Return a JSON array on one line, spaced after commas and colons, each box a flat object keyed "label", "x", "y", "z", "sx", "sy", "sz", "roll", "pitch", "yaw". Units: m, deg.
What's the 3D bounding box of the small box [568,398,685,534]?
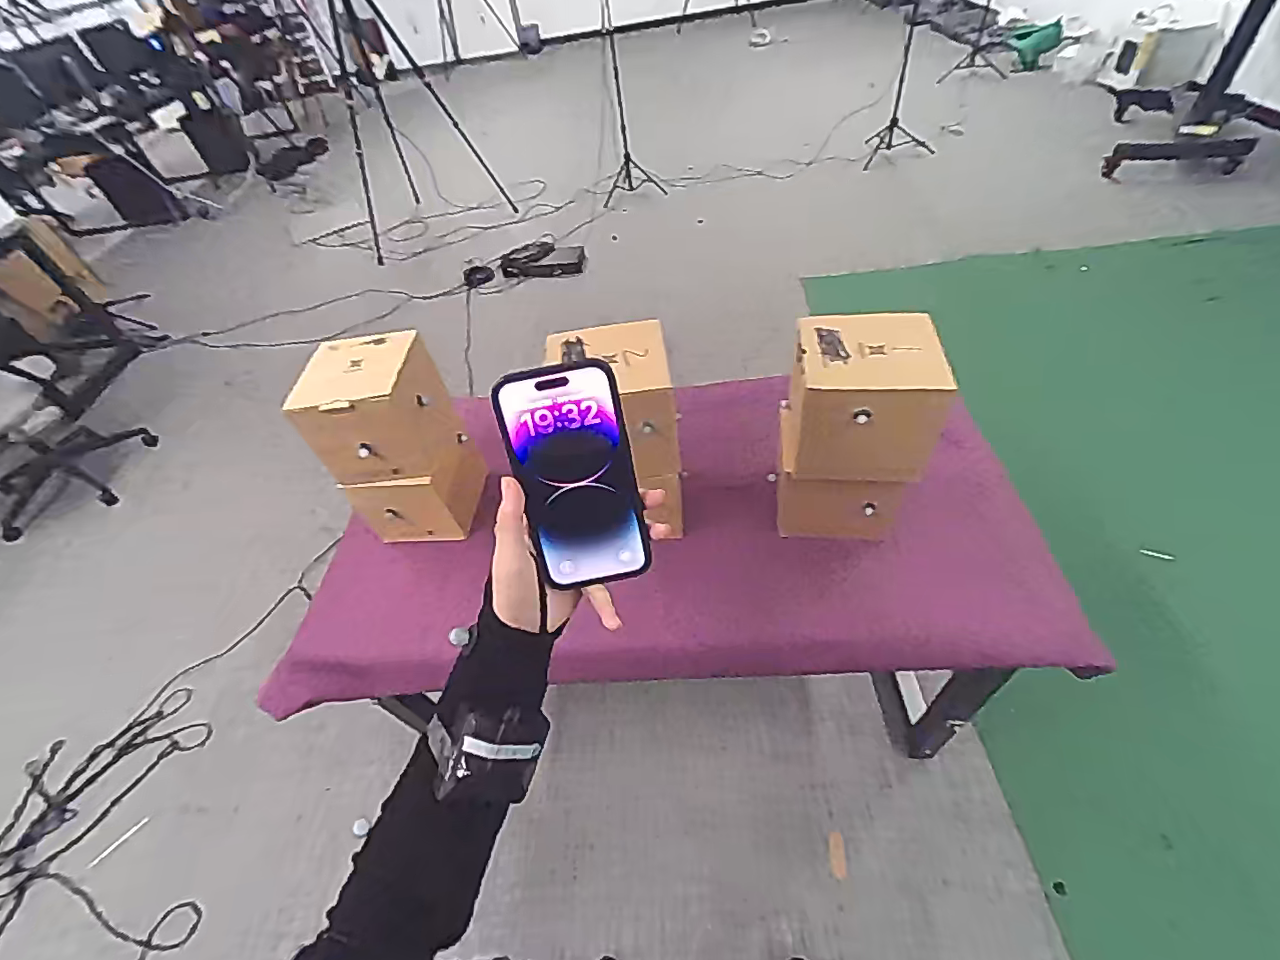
[{"label": "small box", "x": -0.013, "y": -0.021, "z": 0.936, "sx": 0.179, "sy": 0.176, "sz": 0.168, "roll": -4, "pitch": 48, "yaw": 7}]

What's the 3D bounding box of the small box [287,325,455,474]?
[{"label": "small box", "x": -0.421, "y": -0.124, "z": 0.884, "sx": 0.168, "sy": 0.176, "sz": 0.179, "roll": -7, "pitch": 49, "yaw": 4}]

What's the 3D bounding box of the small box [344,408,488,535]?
[{"label": "small box", "x": -0.398, "y": -0.009, "z": 1.000, "sx": 0.168, "sy": 0.176, "sz": 0.179, "roll": -3, "pitch": 48, "yaw": 8}]

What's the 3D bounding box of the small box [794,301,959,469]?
[{"label": "small box", "x": 0.309, "y": -0.128, "z": 0.752, "sx": 0.179, "sy": 0.176, "sz": 0.168, "roll": 1, "pitch": 49, "yaw": 11}]

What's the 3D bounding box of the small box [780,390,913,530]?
[{"label": "small box", "x": 0.324, "y": -0.032, "z": 0.885, "sx": 0.179, "sy": 0.176, "sz": 0.168, "roll": 1, "pitch": 49, "yaw": 12}]
